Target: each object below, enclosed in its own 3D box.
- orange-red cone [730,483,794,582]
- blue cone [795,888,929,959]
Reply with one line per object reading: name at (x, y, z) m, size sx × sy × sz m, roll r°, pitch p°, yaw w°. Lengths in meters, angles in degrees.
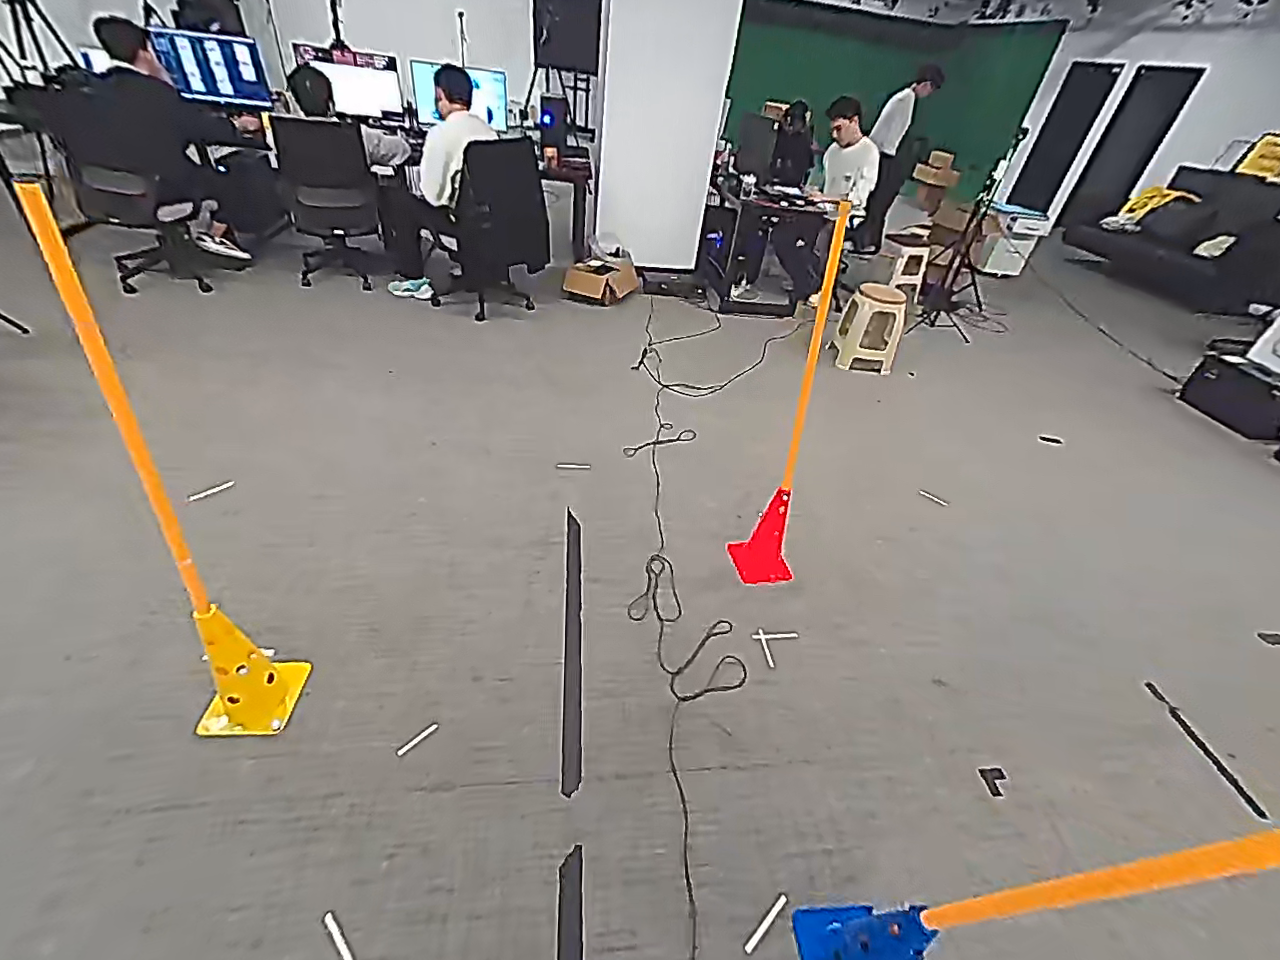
orange-red cone at (0.459, 0.159, 1.870) m, size 0.199 × 0.360 × 0.198 m, roll -3°, pitch 38°, yaw -11°
blue cone at (0.444, 0.853, 1.003) m, size 0.193 × 0.380 × 0.192 m, roll 3°, pitch 37°, yaw -6°
